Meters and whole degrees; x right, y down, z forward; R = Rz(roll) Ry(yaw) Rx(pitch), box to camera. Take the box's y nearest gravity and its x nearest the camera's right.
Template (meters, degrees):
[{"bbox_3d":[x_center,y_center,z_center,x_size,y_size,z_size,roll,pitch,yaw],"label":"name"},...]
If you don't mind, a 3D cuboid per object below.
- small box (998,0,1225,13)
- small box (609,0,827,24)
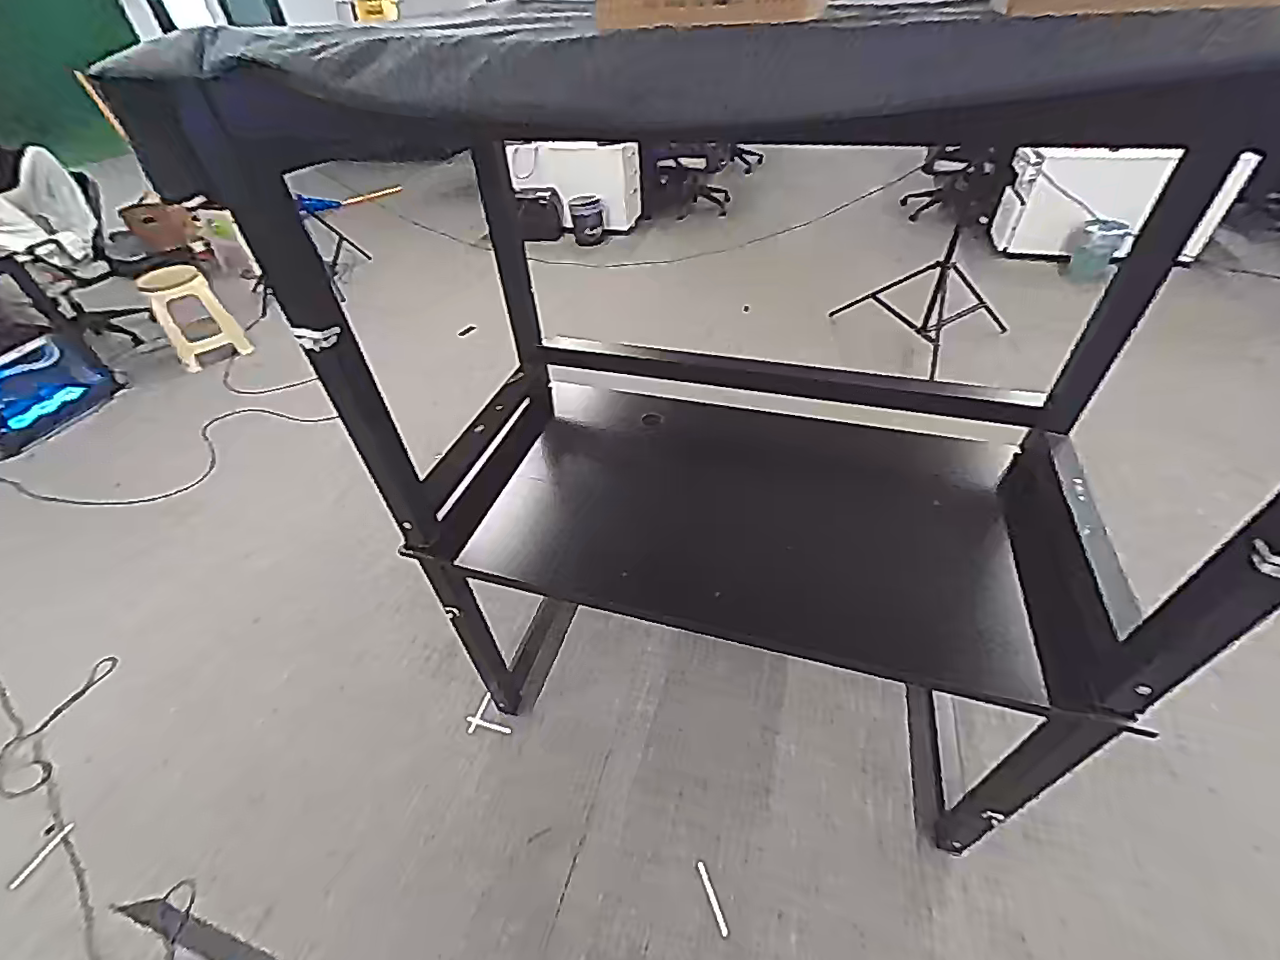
[{"bbox_3d":[0.356,-0.418,0.348,0.168,0.176,0.179,13,44,18],"label":"small box"},{"bbox_3d":[0.070,-0.468,0.421,0.168,0.176,0.179,11,43,16],"label":"small box"}]
